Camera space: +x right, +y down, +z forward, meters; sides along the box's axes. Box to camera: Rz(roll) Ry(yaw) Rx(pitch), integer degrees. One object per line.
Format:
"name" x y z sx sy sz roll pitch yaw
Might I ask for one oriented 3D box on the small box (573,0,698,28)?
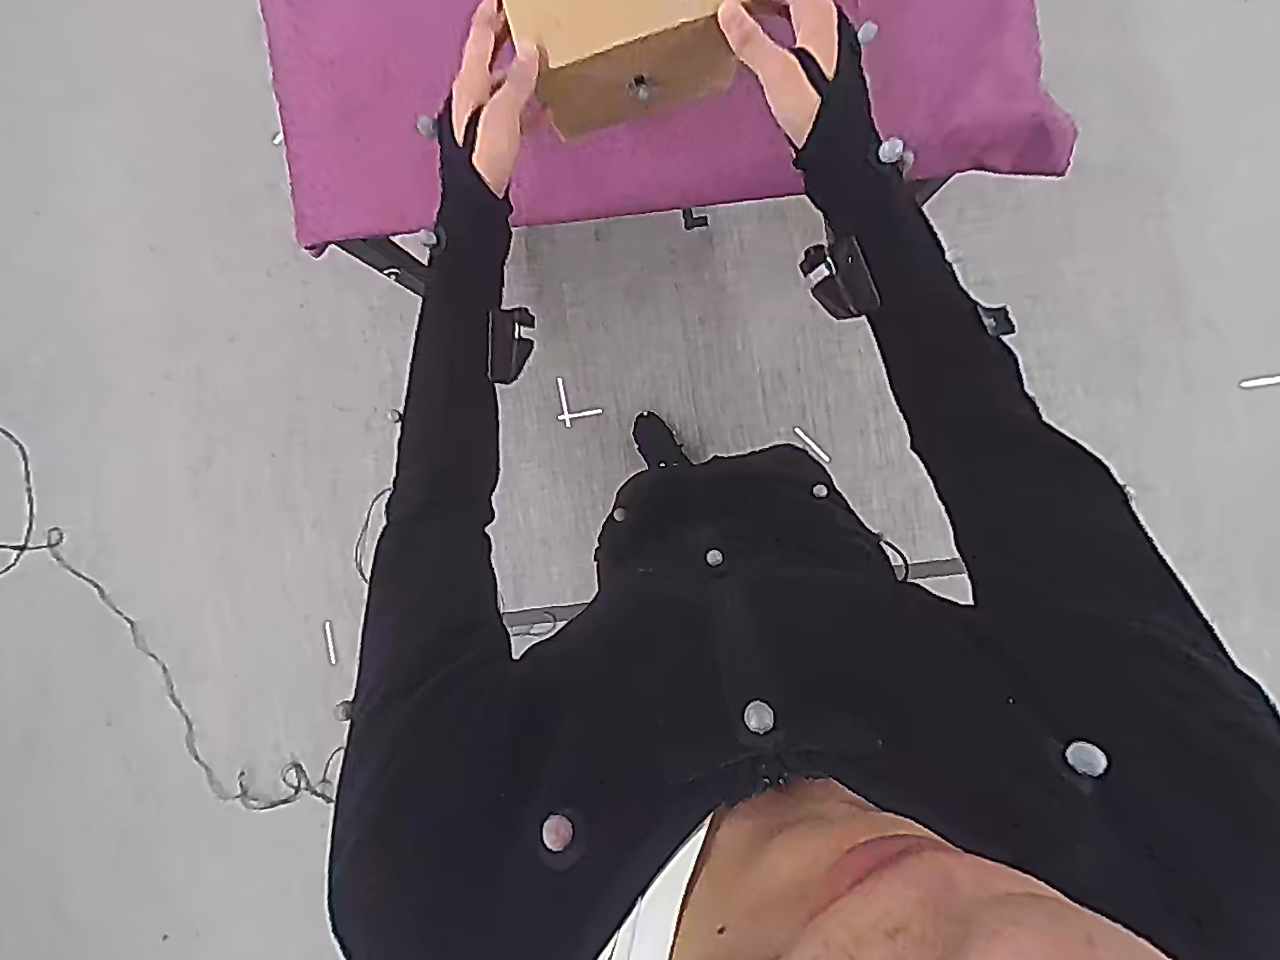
"small box" -0.015 -0.680 0.627 0.179 0.176 0.168 -11 91 3
